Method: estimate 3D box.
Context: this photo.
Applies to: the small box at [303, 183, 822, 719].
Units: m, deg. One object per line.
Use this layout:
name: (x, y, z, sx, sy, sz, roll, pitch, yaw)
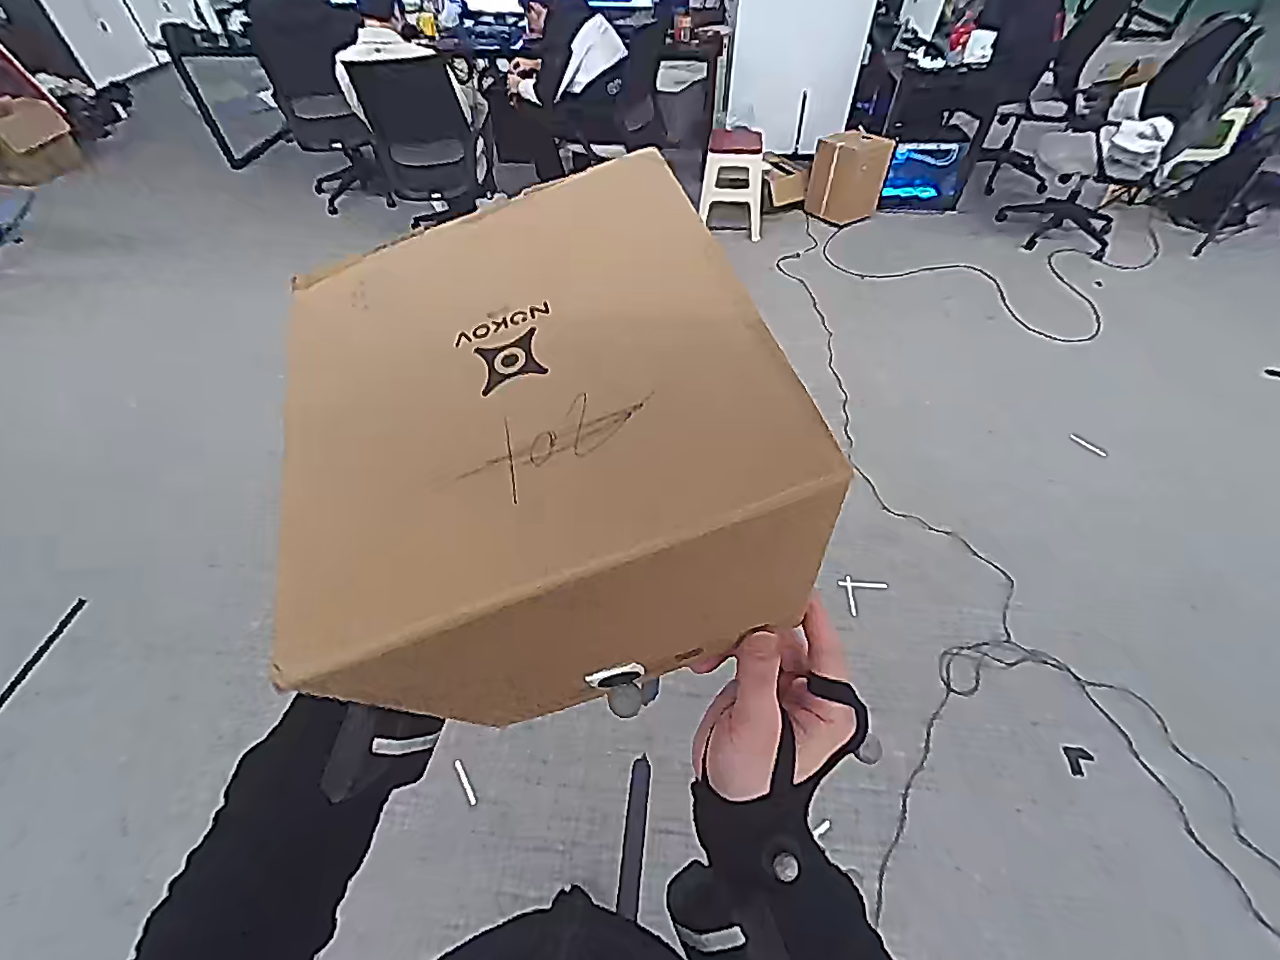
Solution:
small box: (-0.033, 0.000, 0.271, 0.168, 0.176, 0.179, -22, 60, 1)
